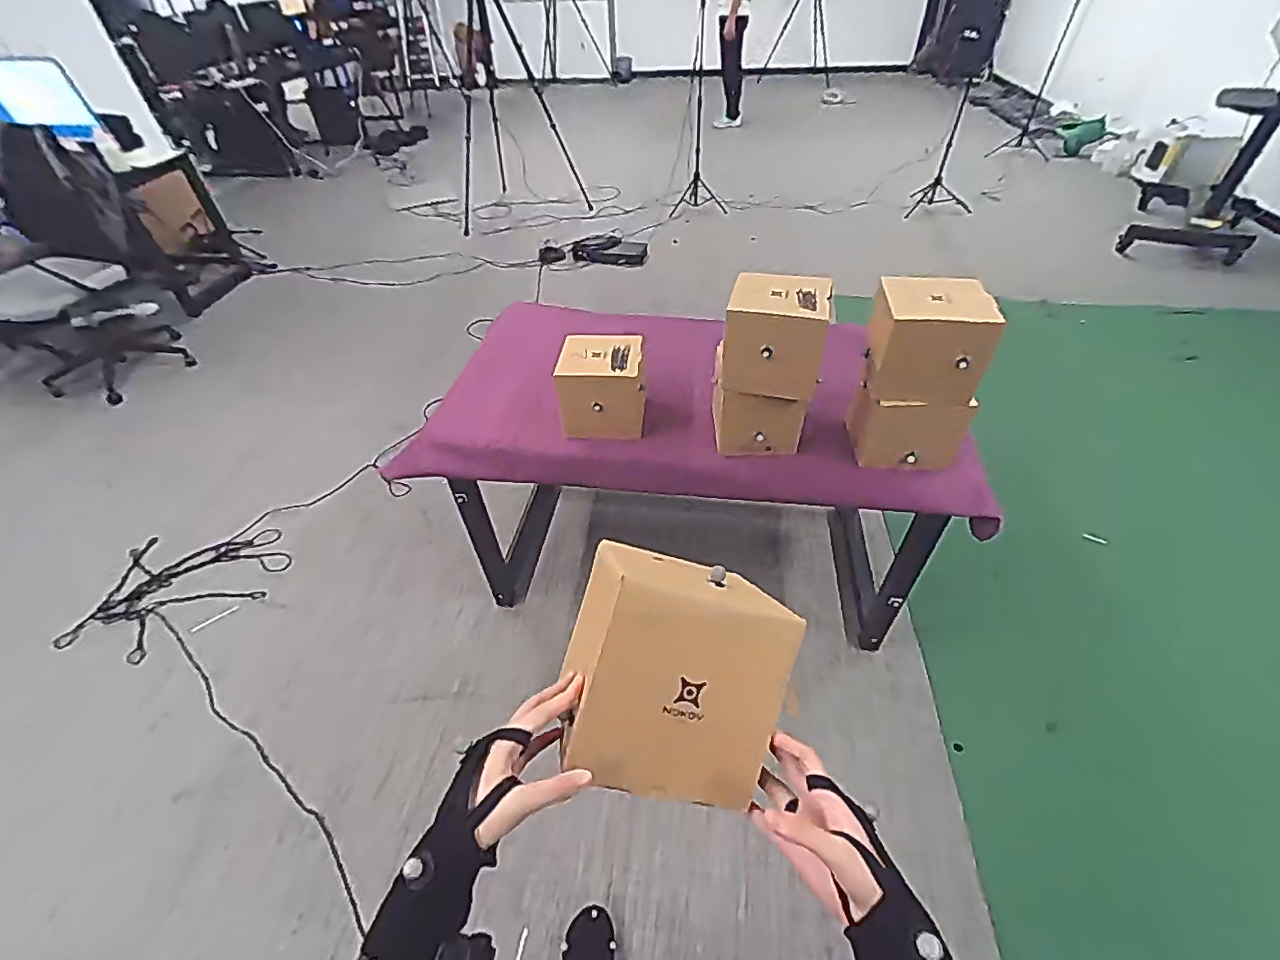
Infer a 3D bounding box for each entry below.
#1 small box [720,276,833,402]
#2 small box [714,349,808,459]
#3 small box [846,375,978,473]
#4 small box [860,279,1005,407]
[{"bbox_3d":[0.255,-0.265,1.022,0.179,0.176,0.168,9,44,14],"label":"small box"},{"bbox_3d":[0.249,-0.163,1.155,0.168,0.176,0.179,-1,44,3],"label":"small box"},{"bbox_3d":[0.539,-0.127,1.100,0.179,0.176,0.168,1,44,5],"label":"small box"},{"bbox_3d":[0.522,-0.250,0.993,0.179,0.176,0.168,5,45,9],"label":"small box"}]
